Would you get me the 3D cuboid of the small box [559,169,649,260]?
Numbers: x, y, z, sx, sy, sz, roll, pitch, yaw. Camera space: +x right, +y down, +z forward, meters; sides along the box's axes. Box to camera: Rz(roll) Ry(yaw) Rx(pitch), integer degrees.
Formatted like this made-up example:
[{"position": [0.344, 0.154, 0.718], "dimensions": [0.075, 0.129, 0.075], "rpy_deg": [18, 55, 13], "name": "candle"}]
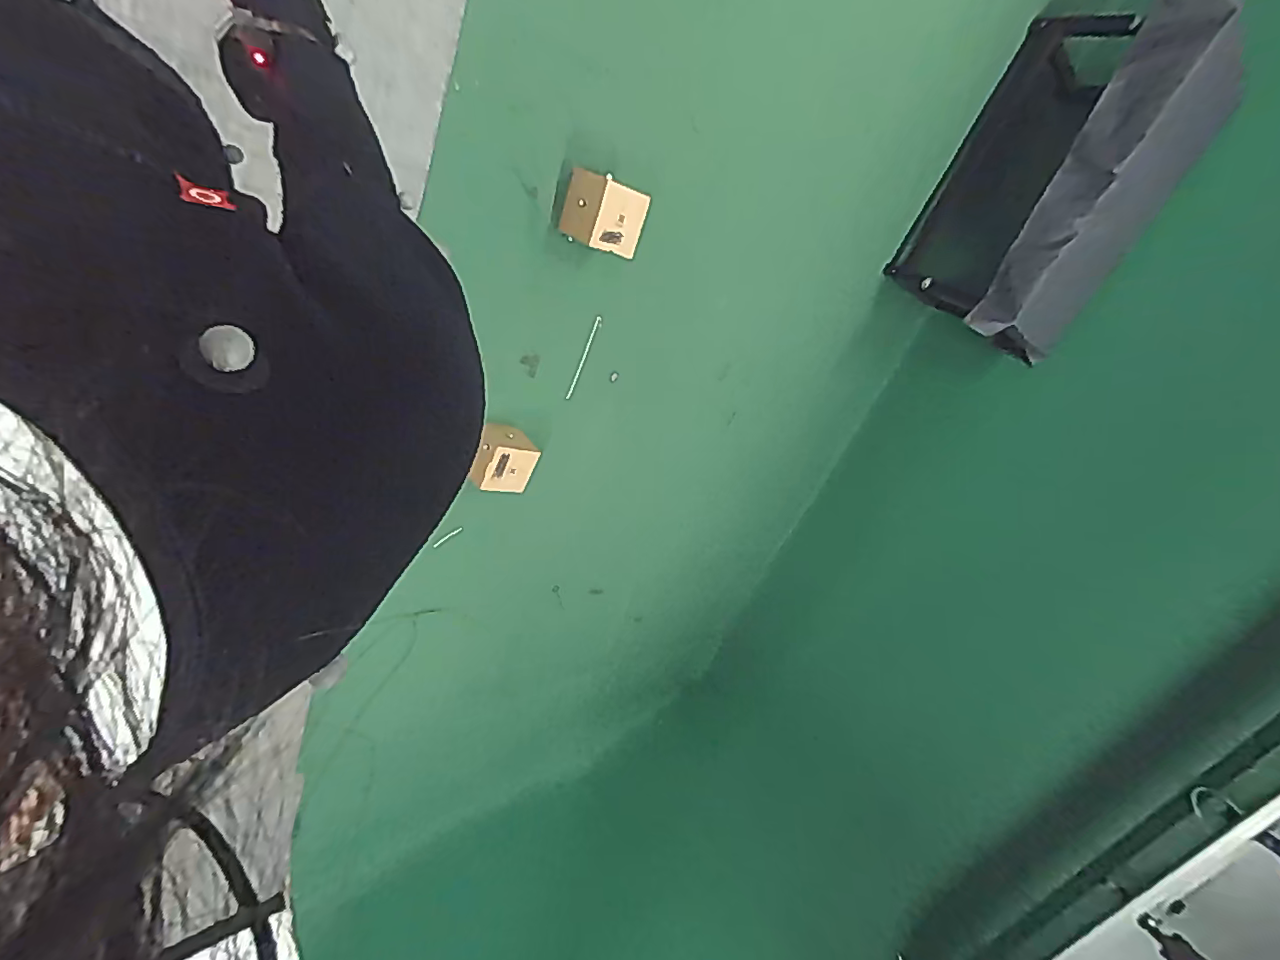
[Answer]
[{"position": [-0.110, -0.764, 1.555], "dimensions": [0.168, 0.176, 0.179], "rpy_deg": [-5, 125, -45], "name": "small box"}]
